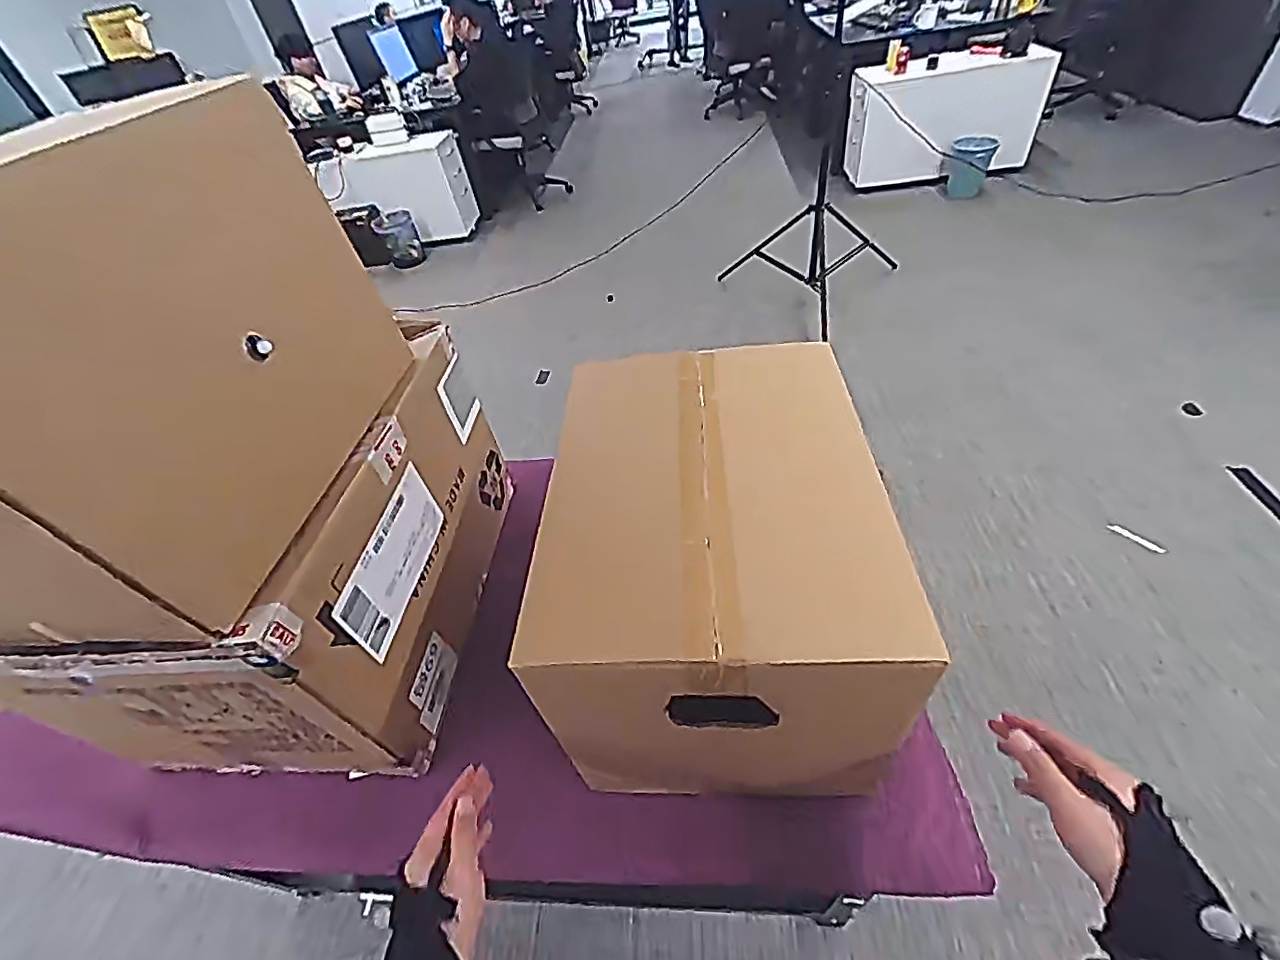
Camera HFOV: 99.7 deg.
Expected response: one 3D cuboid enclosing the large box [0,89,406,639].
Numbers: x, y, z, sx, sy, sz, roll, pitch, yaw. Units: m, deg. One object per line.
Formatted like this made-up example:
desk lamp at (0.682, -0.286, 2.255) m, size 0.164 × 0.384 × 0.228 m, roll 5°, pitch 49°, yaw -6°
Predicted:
large box at (-0.489, -0.109, 0.503) m, size 0.320 × 0.320 × 0.408 m, roll -5°, pitch 46°, yaw 12°
